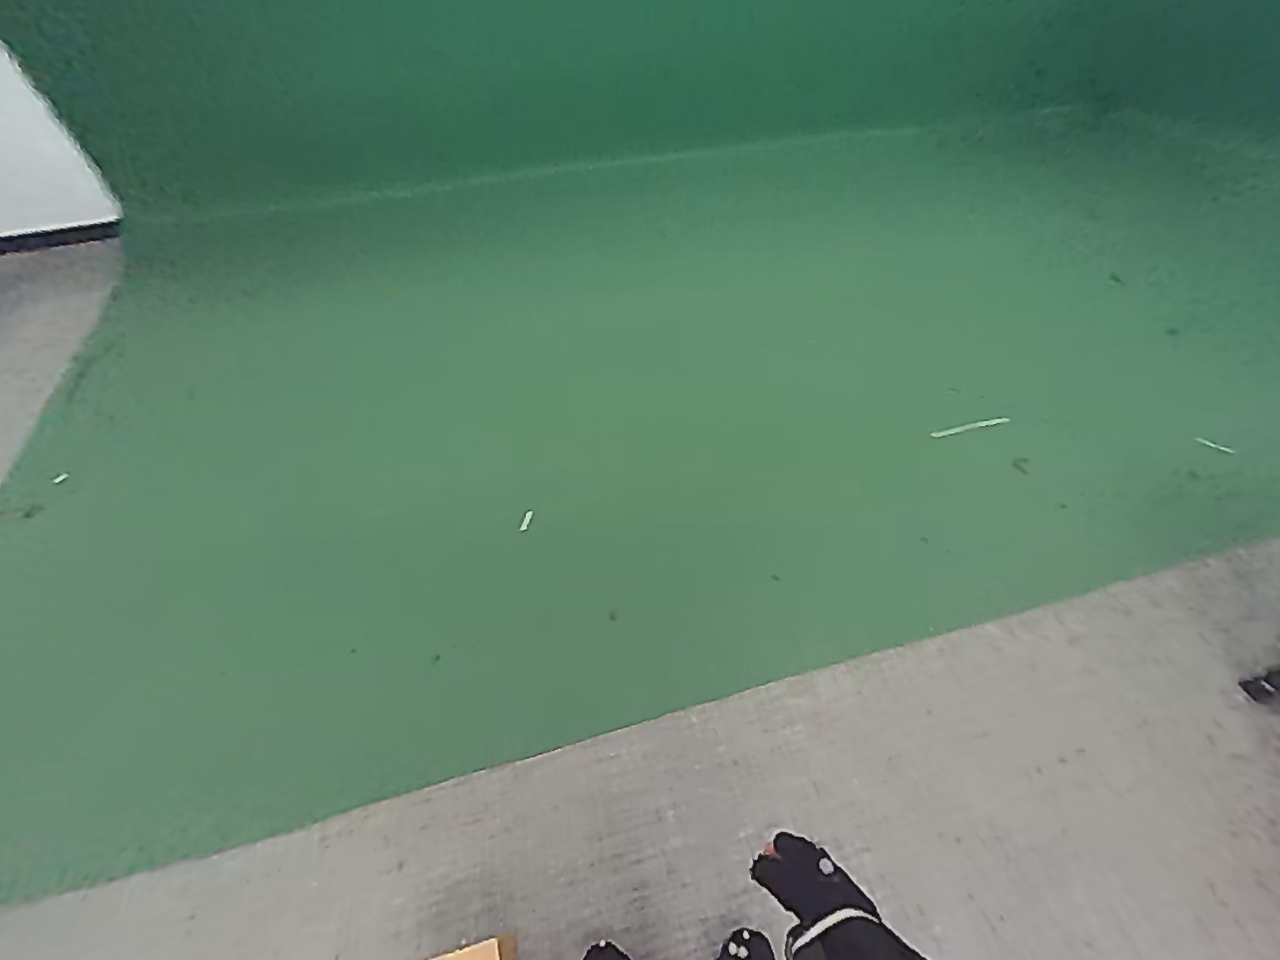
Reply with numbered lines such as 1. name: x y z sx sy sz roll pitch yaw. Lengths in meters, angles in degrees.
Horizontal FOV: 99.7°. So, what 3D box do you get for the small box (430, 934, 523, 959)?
1. small box: -0.313 0.971 0.999 0.179 0.176 0.168 -13 53 -10
